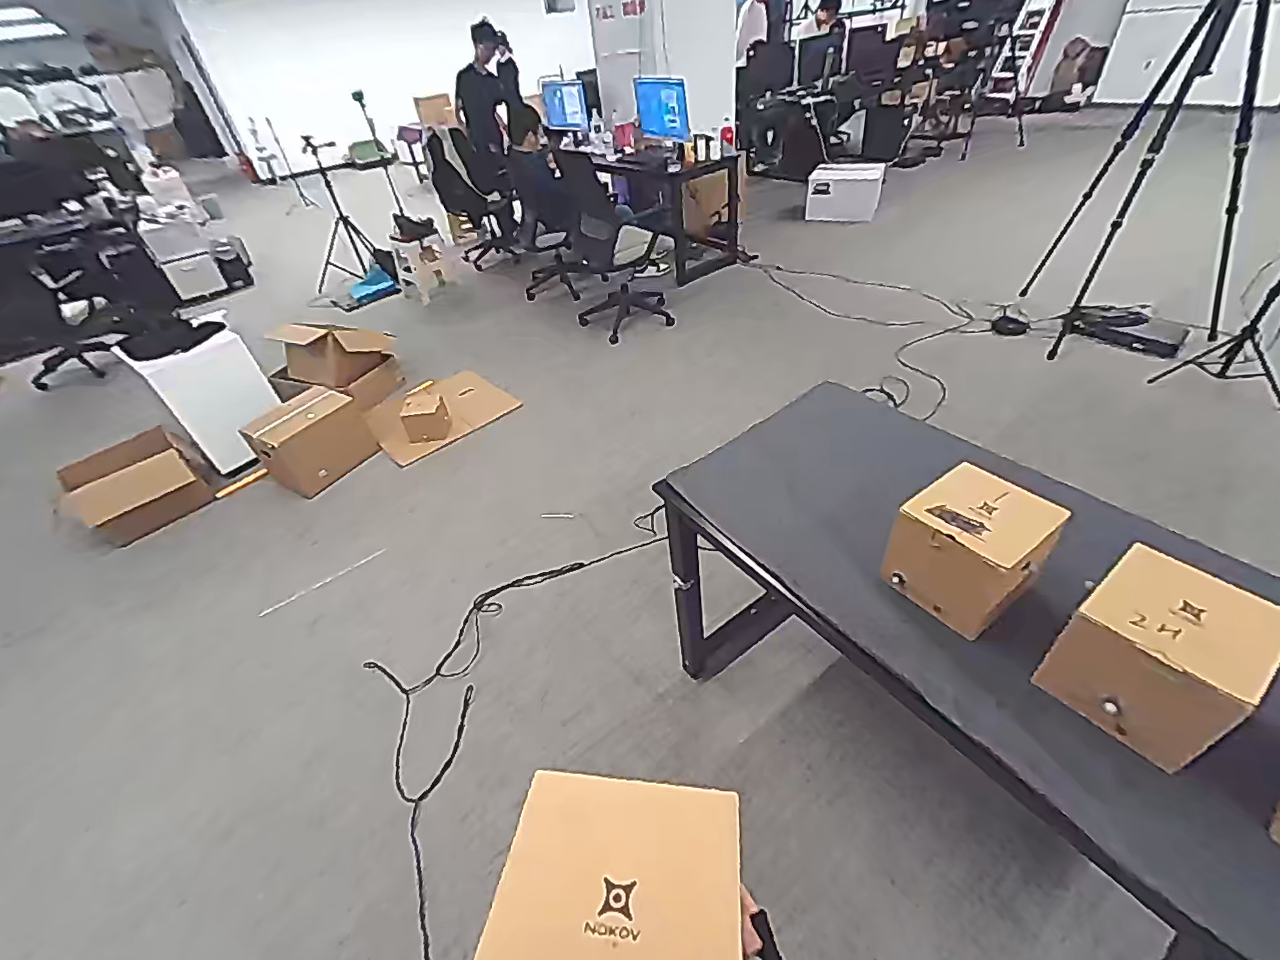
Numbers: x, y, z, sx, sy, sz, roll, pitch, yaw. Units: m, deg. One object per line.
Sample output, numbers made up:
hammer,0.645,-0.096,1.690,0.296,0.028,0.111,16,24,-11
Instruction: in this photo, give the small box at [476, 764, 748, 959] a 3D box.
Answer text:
small box,-0.012,0.347,0.392,0.168,0.176,0.179,3,28,7

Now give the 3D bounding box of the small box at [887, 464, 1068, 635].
small box,0.518,0.110,0.857,0.179,0.176,0.168,-27,44,-23

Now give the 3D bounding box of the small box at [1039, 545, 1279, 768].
small box,0.662,0.223,0.697,0.179,0.176,0.168,-29,44,-24
